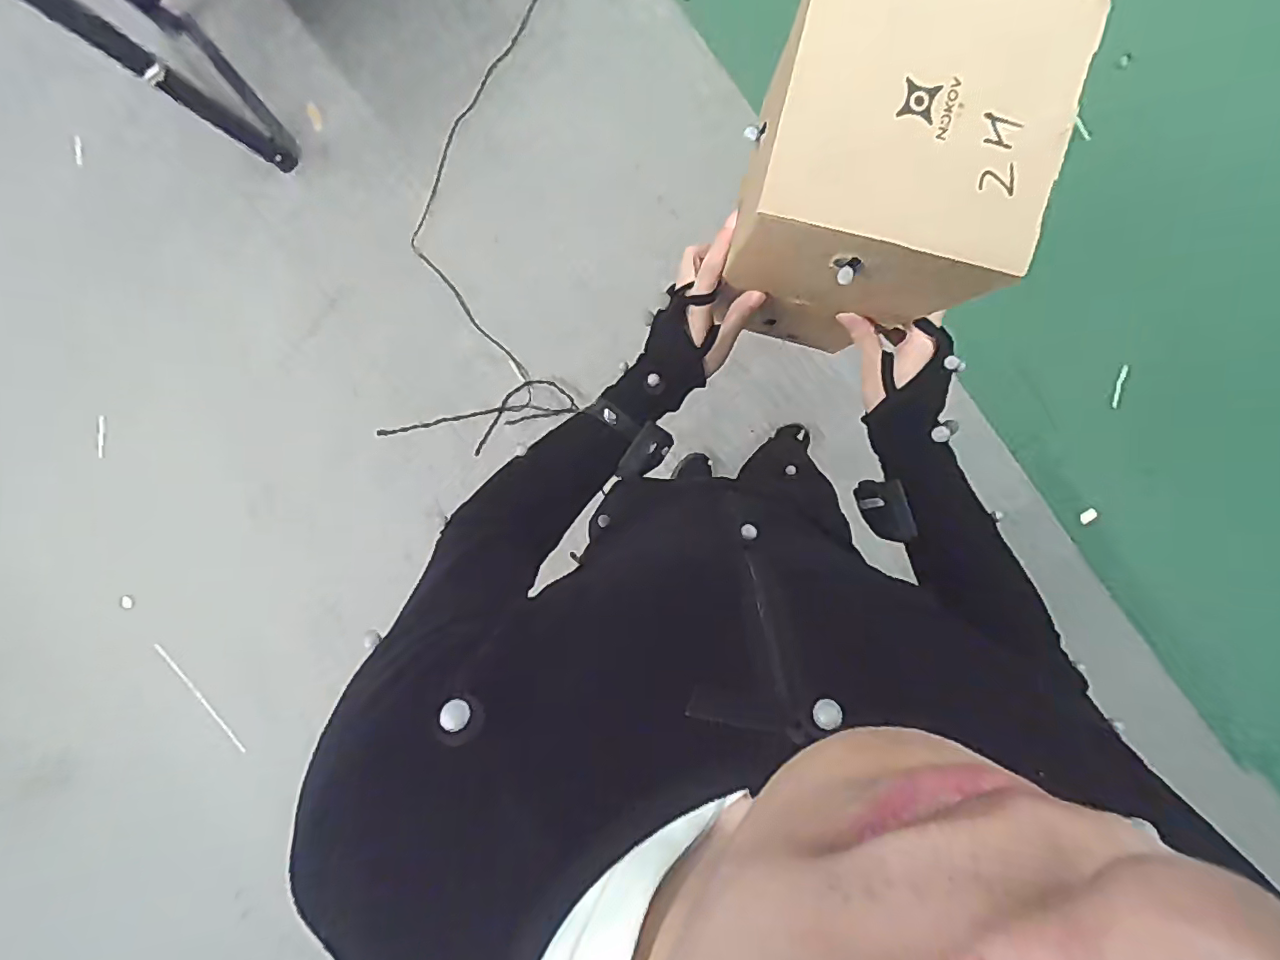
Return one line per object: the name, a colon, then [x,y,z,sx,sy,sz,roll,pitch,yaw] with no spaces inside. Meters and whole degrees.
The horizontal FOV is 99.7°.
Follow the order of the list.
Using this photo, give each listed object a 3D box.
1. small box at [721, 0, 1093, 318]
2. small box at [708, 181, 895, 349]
small box: [0.168,-0.233,0.407,0.179,0.176,0.168,14,96,0]
small box: [0.176,-0.252,0.571,0.168,0.176,0.179,14,96,-1]
